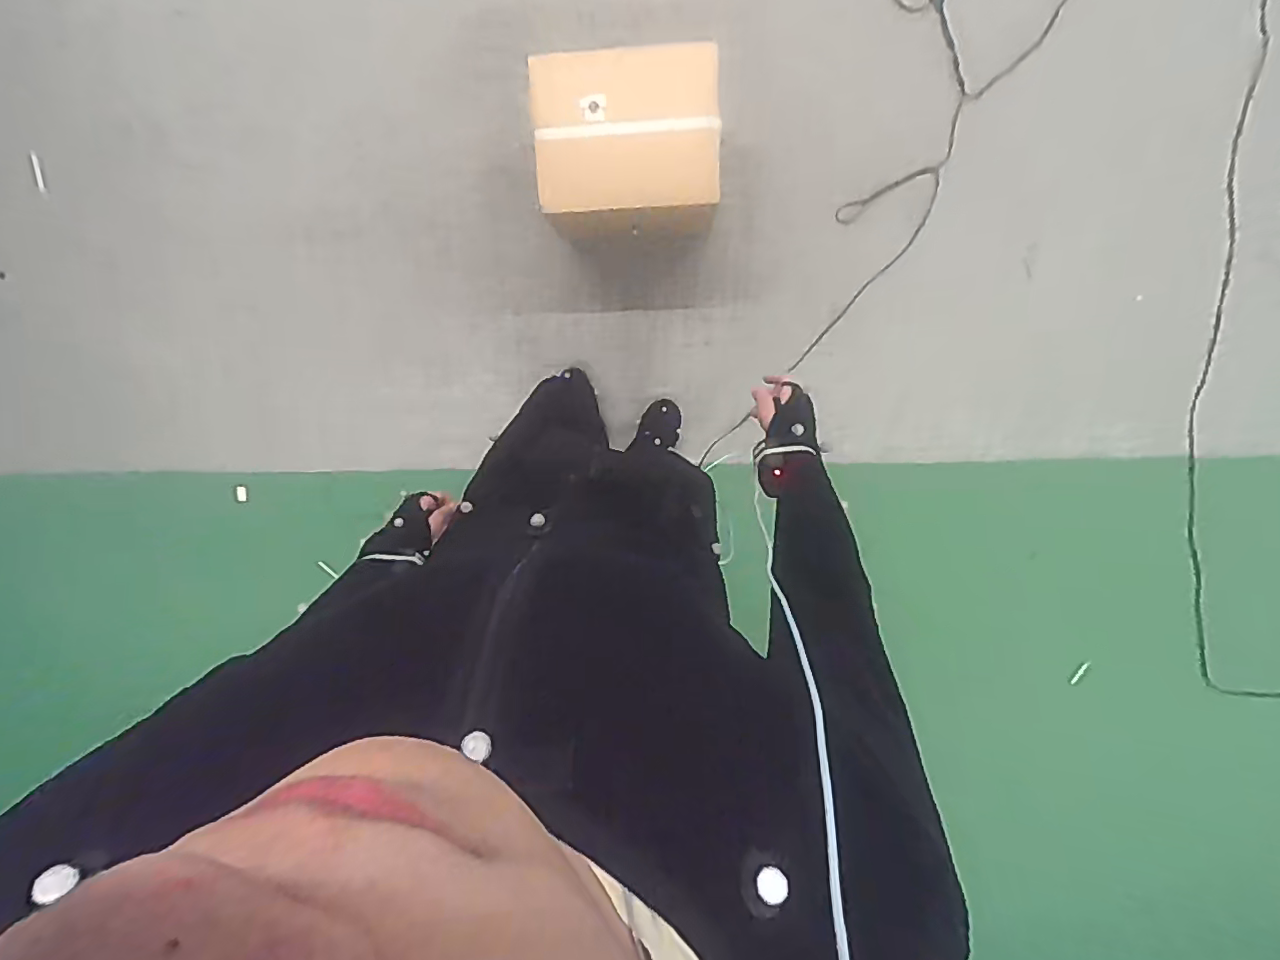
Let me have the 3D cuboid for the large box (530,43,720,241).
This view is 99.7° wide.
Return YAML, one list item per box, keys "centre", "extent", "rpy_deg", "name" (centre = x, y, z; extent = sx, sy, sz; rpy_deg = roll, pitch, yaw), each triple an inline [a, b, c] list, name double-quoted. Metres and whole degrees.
- centre: [-0.019, -0.789, 1.321]
  extent: [0.408, 0.320, 0.320]
  rpy_deg: [-2, 102, 5]
  name: "large box"
